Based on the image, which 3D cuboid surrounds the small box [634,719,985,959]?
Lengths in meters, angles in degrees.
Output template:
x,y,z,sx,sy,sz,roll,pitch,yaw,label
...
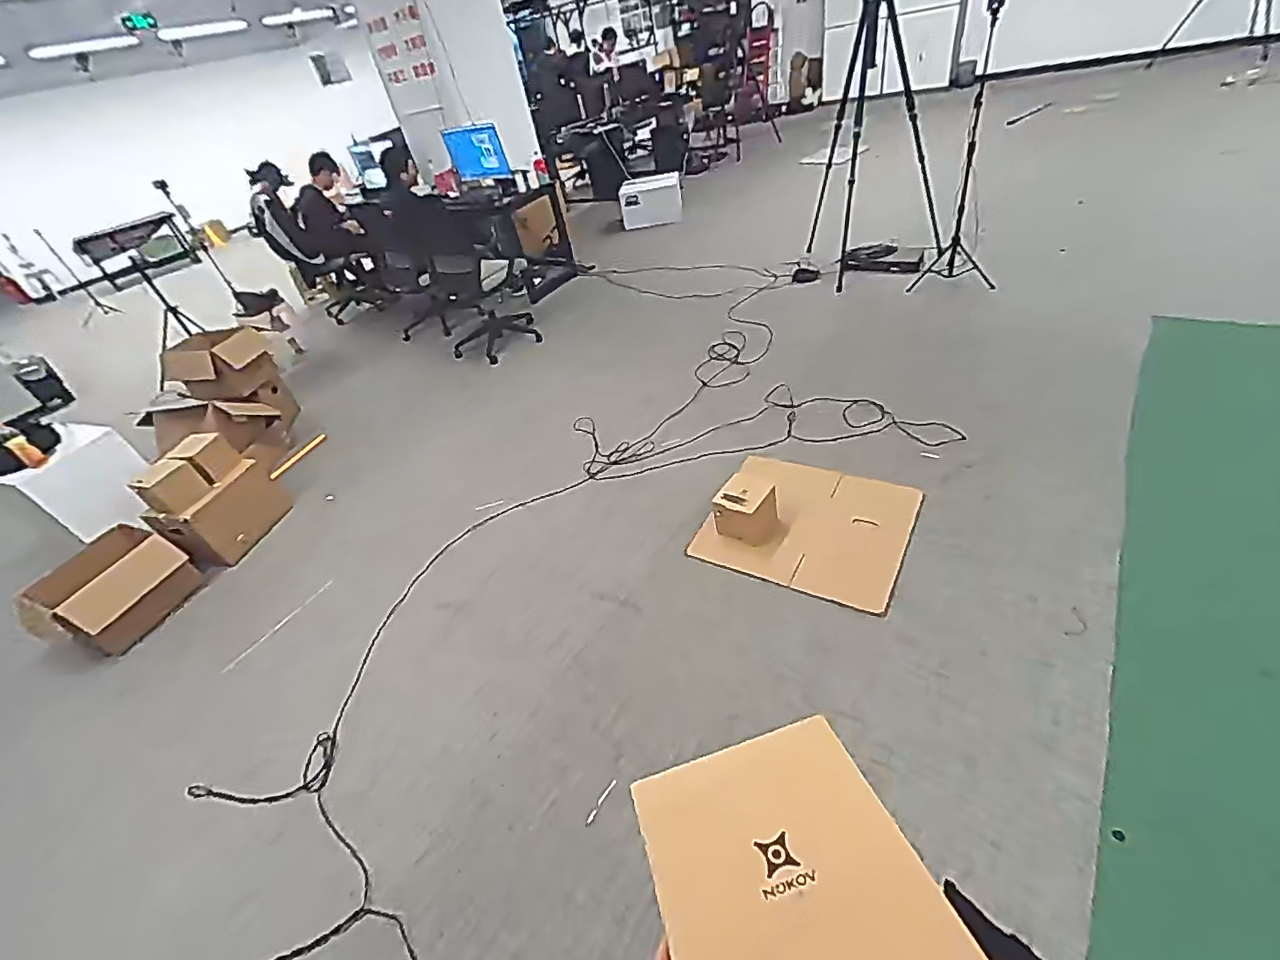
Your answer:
x,y,z,sx,sy,sz,roll,pitch,yaw,label
0.103,0.318,0.388,0.168,0.176,0.179,-15,28,-8,small box
